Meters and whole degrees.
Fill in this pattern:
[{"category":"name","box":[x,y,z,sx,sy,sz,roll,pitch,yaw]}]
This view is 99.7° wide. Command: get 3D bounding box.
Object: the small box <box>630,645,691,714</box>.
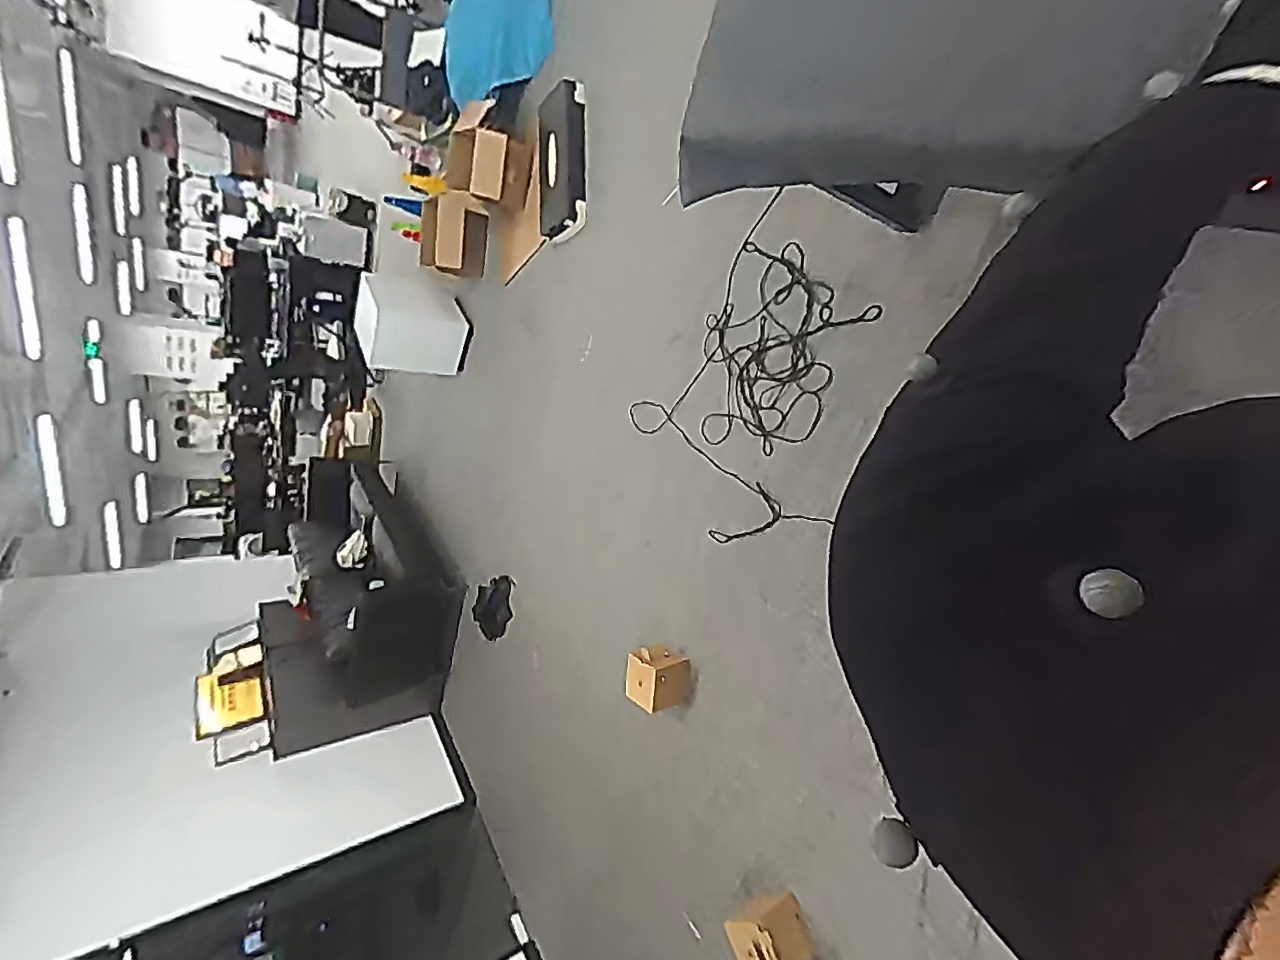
[{"category":"small box","box":[0.079,0.752,2.061,0.168,0.176,0.179,12,99,51]}]
